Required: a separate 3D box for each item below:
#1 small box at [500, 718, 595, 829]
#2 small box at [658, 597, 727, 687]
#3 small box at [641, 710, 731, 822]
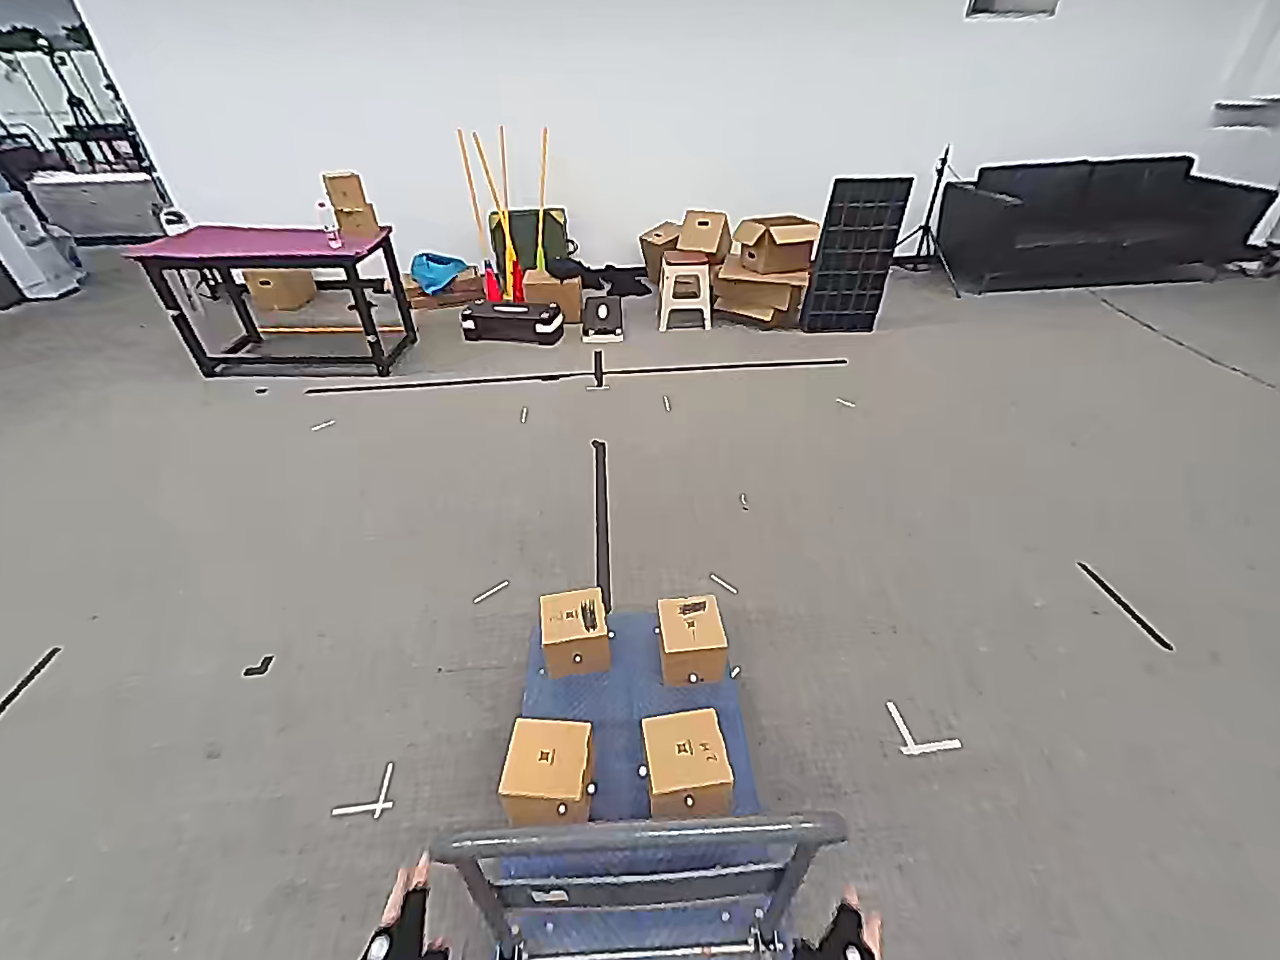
[{"bbox_3d":[-0.202,0.670,1.234,0.179,0.176,0.168,3,37,2],"label":"small box"},{"bbox_3d":[0.140,0.452,1.509,0.168,0.176,0.179,-4,39,-4],"label":"small box"},{"bbox_3d":[0.101,0.659,1.243,0.179,0.176,0.168,-5,38,-6],"label":"small box"}]
